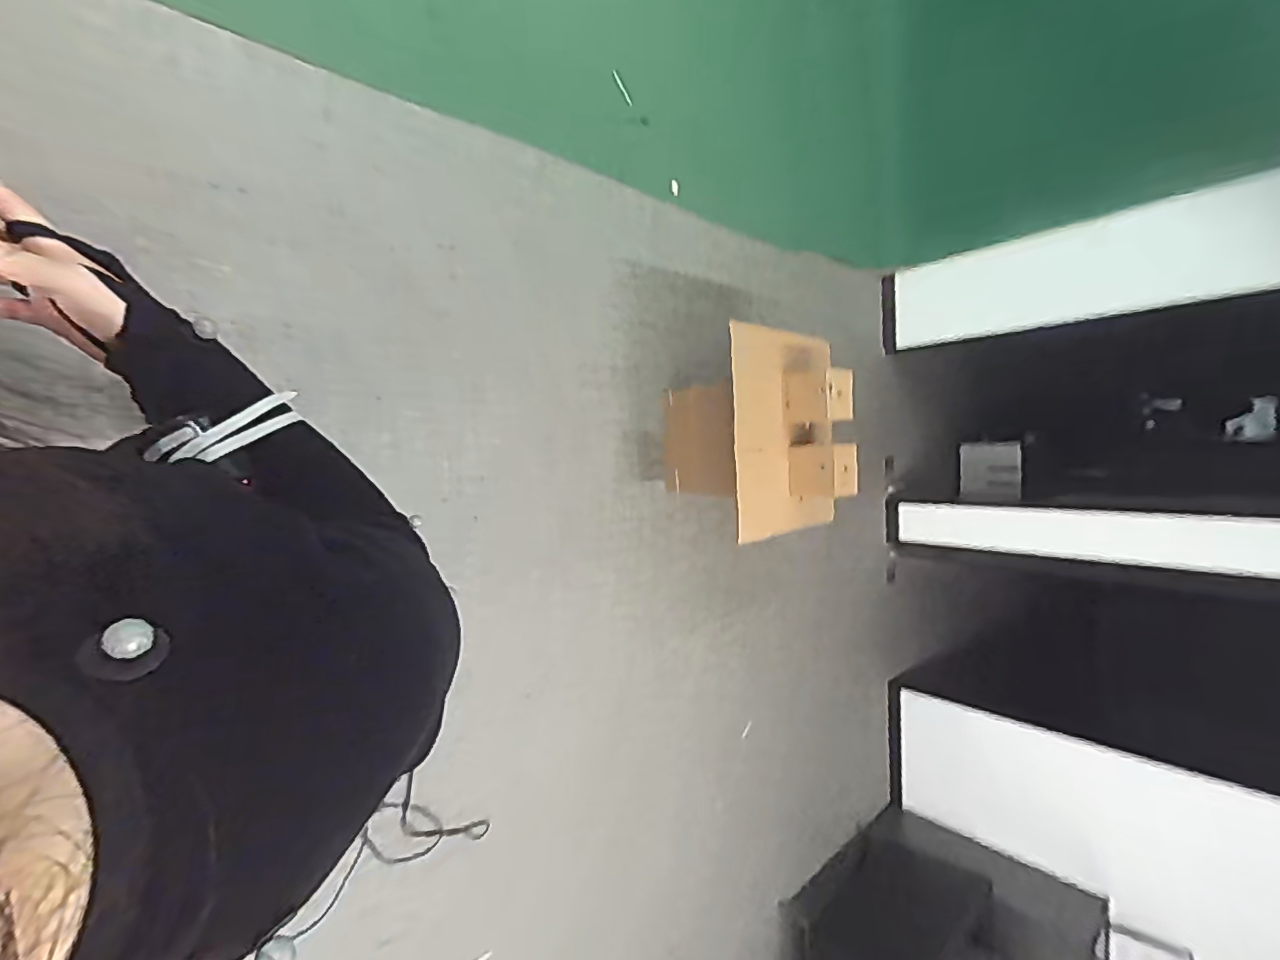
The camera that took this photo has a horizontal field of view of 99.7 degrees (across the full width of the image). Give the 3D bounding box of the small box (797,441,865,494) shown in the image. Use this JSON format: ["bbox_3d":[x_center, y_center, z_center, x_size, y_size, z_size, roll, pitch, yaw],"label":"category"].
[{"bbox_3d":[0.656,-0.041,1.865,0.168,0.176,0.179,-2,91,-41],"label":"small box"}]

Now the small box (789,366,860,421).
[{"bbox_3d":[0.624,-0.290,1.830,0.179,0.176,0.168,-8,96,-42],"label":"small box"}]
